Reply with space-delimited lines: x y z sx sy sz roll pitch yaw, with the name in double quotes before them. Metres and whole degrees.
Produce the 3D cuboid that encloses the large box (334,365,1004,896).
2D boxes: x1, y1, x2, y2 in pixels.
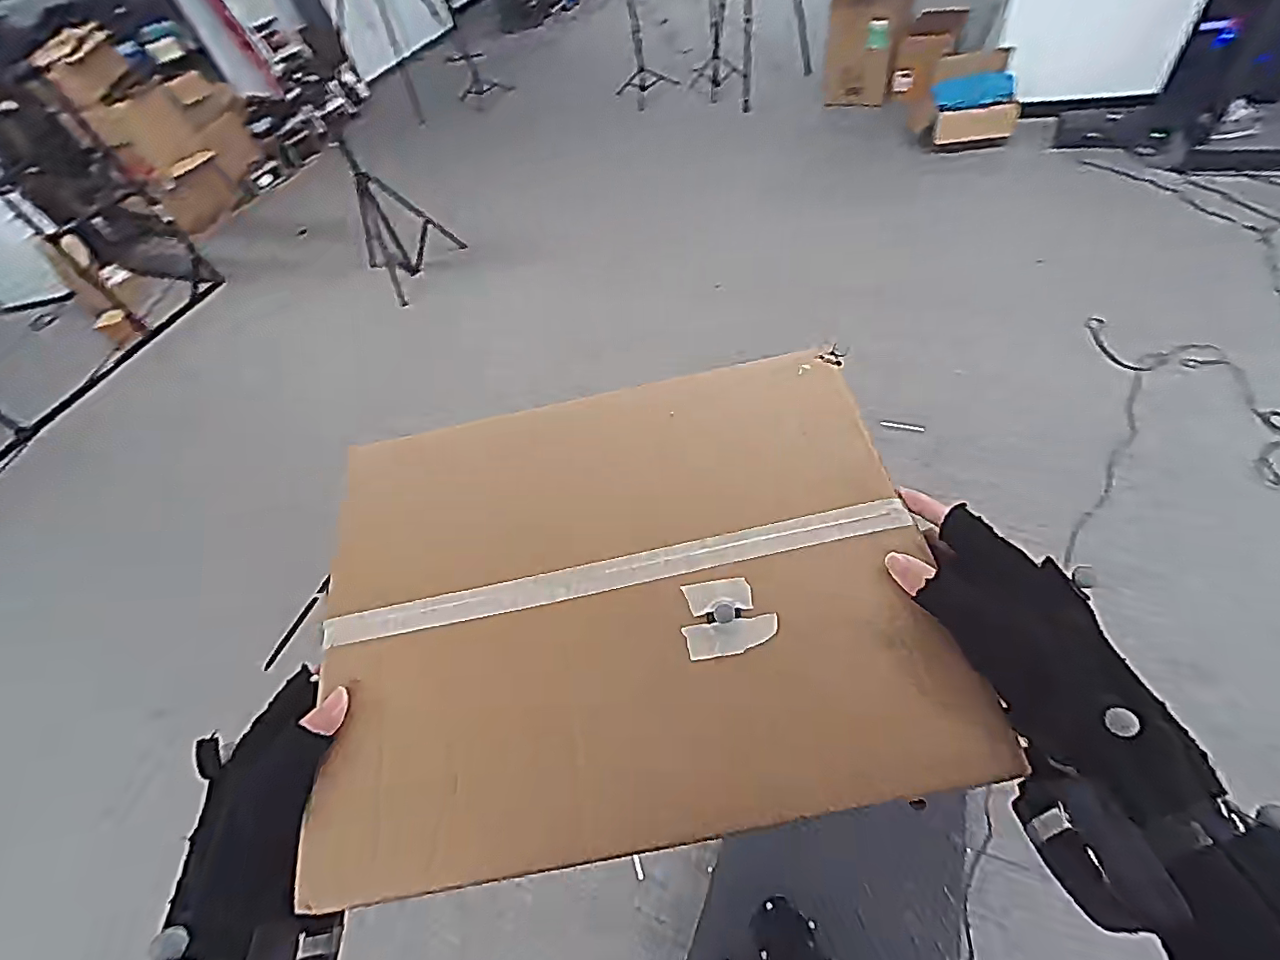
"large box" 0.007 0.145 0.512 0.408 0.320 0.320 -12 60 1
